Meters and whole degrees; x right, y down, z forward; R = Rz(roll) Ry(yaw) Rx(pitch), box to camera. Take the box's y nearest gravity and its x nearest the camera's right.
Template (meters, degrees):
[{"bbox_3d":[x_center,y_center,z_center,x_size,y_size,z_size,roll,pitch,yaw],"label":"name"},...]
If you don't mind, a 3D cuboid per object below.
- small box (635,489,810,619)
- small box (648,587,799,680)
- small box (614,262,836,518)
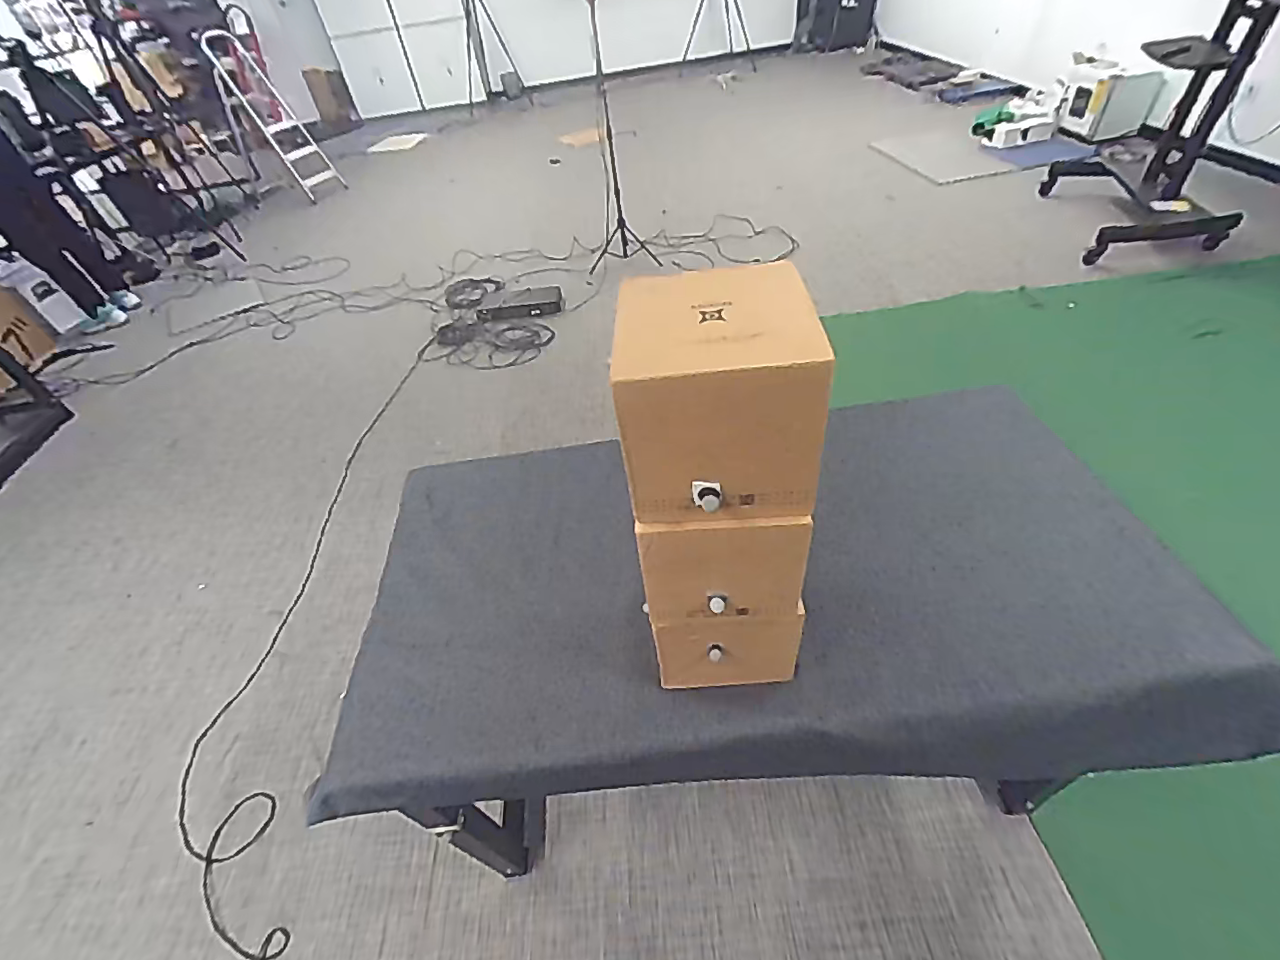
[{"bbox_3d":[0.088,0.038,0.617,0.168,0.176,0.179,-3,45,6],"label":"small box"},{"bbox_3d":[0.106,0.157,0.731,0.179,0.176,0.168,-5,45,4],"label":"small box"},{"bbox_3d":[0.073,-0.082,0.511,0.168,0.176,0.179,-4,45,6],"label":"small box"}]
